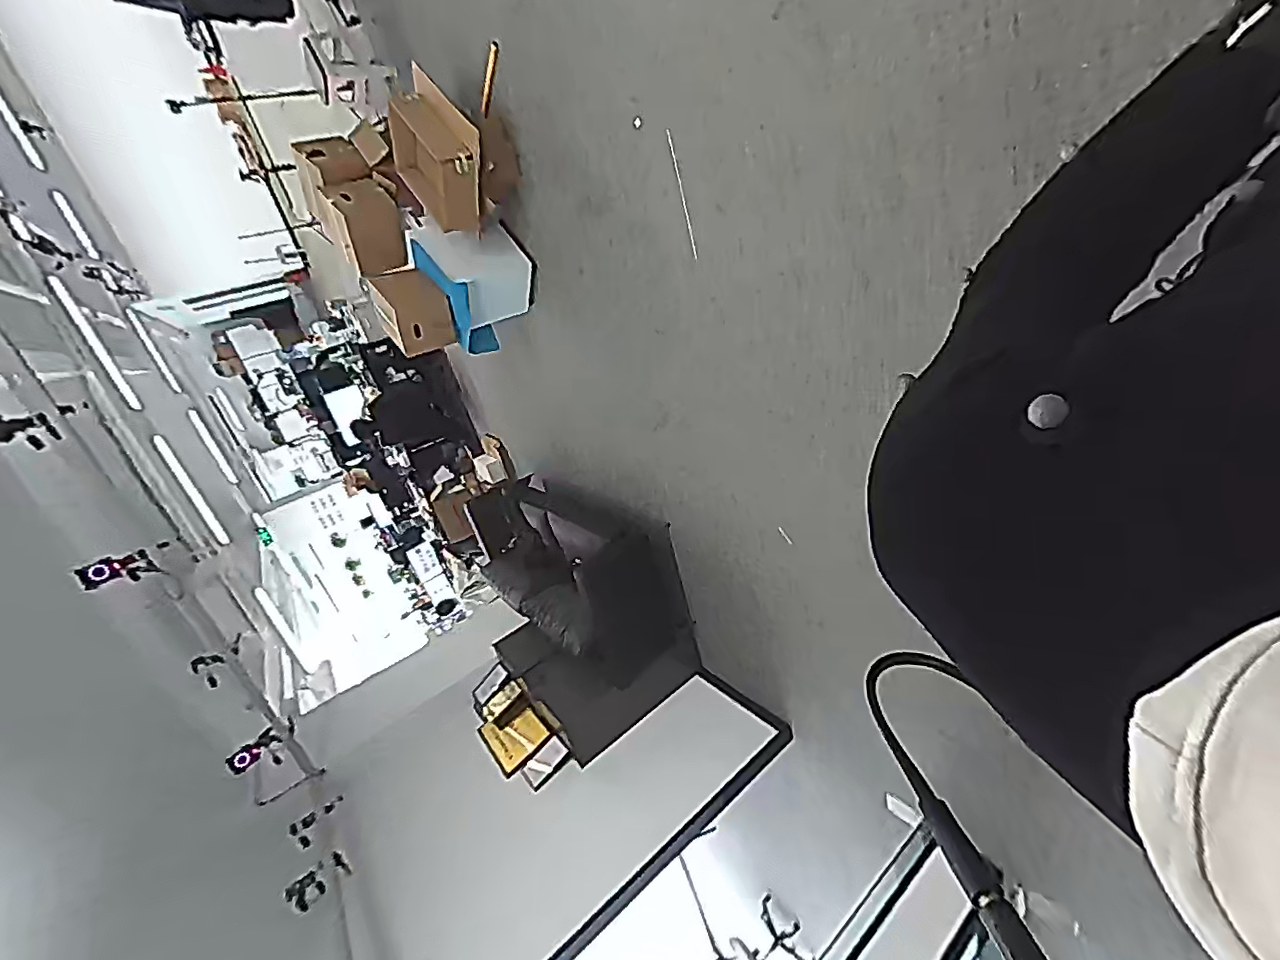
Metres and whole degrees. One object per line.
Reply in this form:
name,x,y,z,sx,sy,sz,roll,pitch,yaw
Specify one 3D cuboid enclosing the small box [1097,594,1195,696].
small box,1.357,0.436,1.467,0.179,0.176,0.168,21,132,53
